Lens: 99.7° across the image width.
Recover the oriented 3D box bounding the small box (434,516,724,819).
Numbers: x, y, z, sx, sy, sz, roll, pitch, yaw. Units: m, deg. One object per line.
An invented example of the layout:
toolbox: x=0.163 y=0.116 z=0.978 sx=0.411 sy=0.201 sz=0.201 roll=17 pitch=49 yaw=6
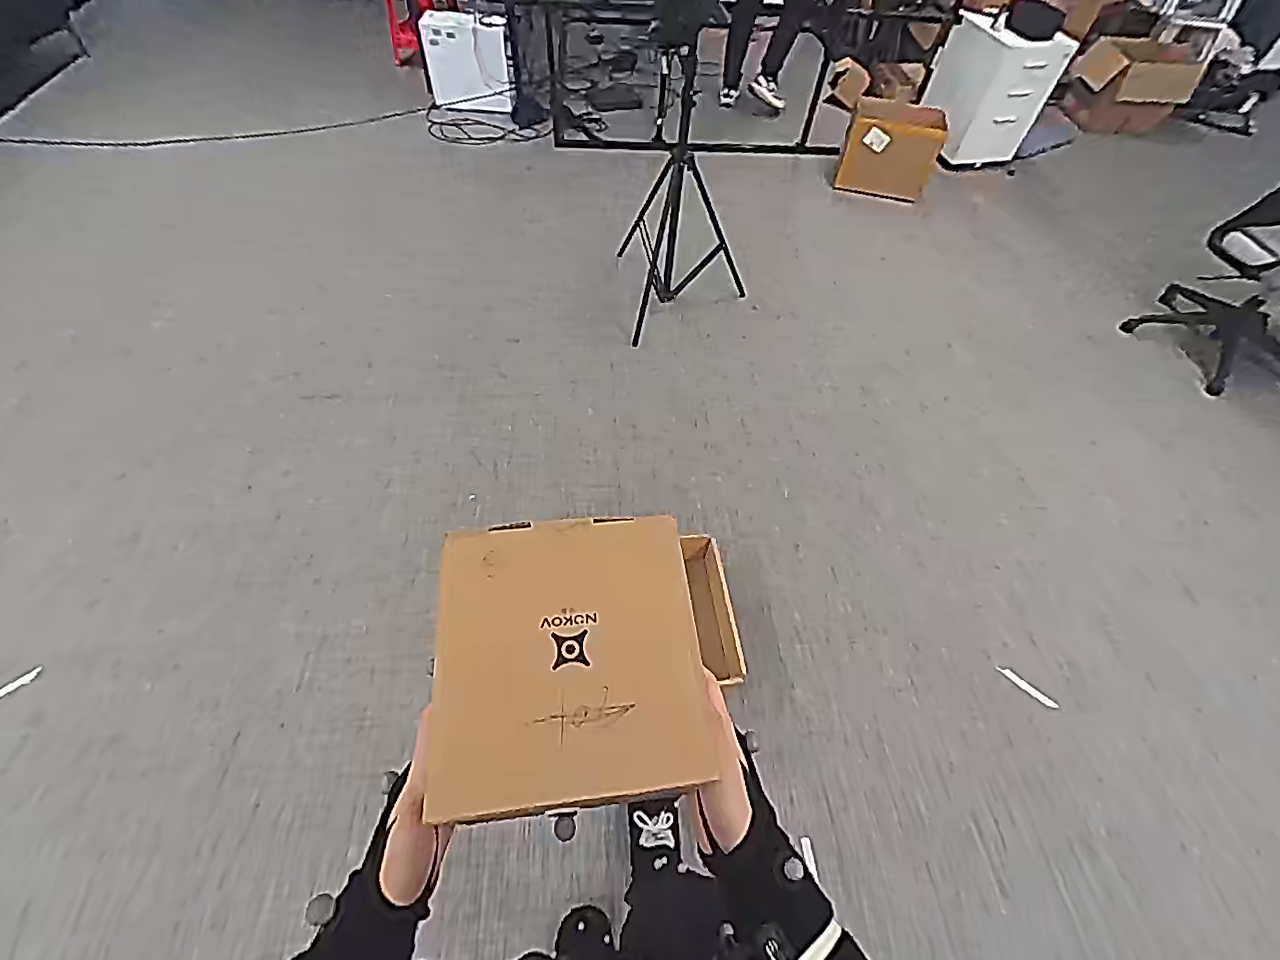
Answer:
small box: x=-0.049 y=0.146 z=0.413 sx=0.168 sy=0.176 sz=0.179 roll=-4 pitch=58 yaw=-8
